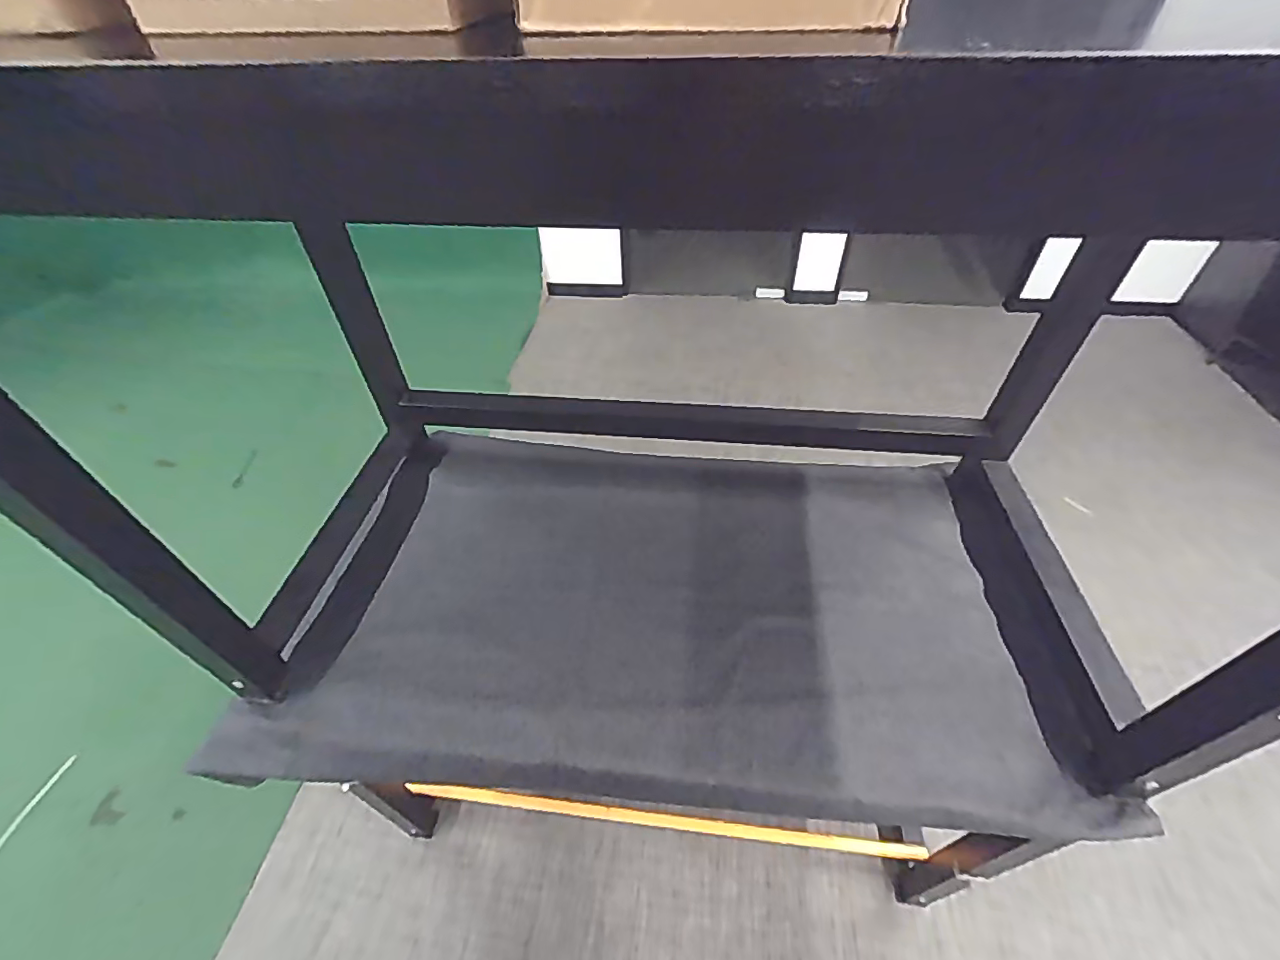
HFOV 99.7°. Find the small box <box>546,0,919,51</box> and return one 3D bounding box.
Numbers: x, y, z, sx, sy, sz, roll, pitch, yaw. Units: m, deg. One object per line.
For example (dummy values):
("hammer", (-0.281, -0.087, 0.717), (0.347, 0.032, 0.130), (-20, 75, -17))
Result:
("small box", (0.046, -0.308, 0.234), (0.168, 0.176, 0.179), (5, 46, 6))
